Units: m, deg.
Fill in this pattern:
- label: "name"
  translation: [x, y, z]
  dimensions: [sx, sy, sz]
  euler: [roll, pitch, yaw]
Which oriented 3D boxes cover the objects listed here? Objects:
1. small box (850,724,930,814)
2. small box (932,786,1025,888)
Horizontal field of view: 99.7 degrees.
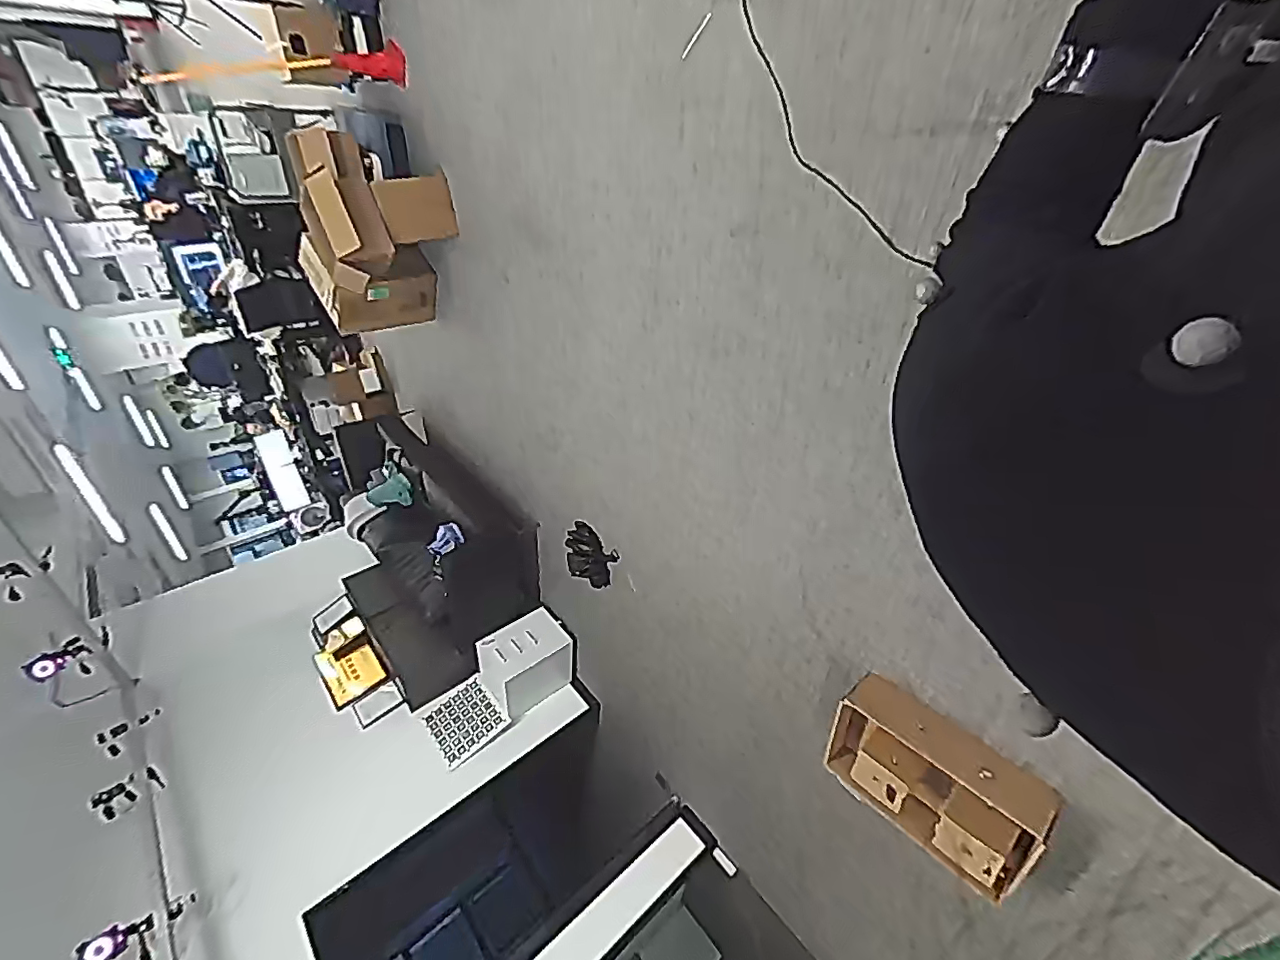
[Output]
- label: "small box"
  translation: [0.857, 0.982, 1.851]
  dimensions: [0.179, 0.176, 0.168]
  euler: [31, 133, 39]
- label: "small box"
  translation: [1.043, 1.088, 1.669]
  dimensions: [0.179, 0.176, 0.168]
  euler: [28, 132, 43]
